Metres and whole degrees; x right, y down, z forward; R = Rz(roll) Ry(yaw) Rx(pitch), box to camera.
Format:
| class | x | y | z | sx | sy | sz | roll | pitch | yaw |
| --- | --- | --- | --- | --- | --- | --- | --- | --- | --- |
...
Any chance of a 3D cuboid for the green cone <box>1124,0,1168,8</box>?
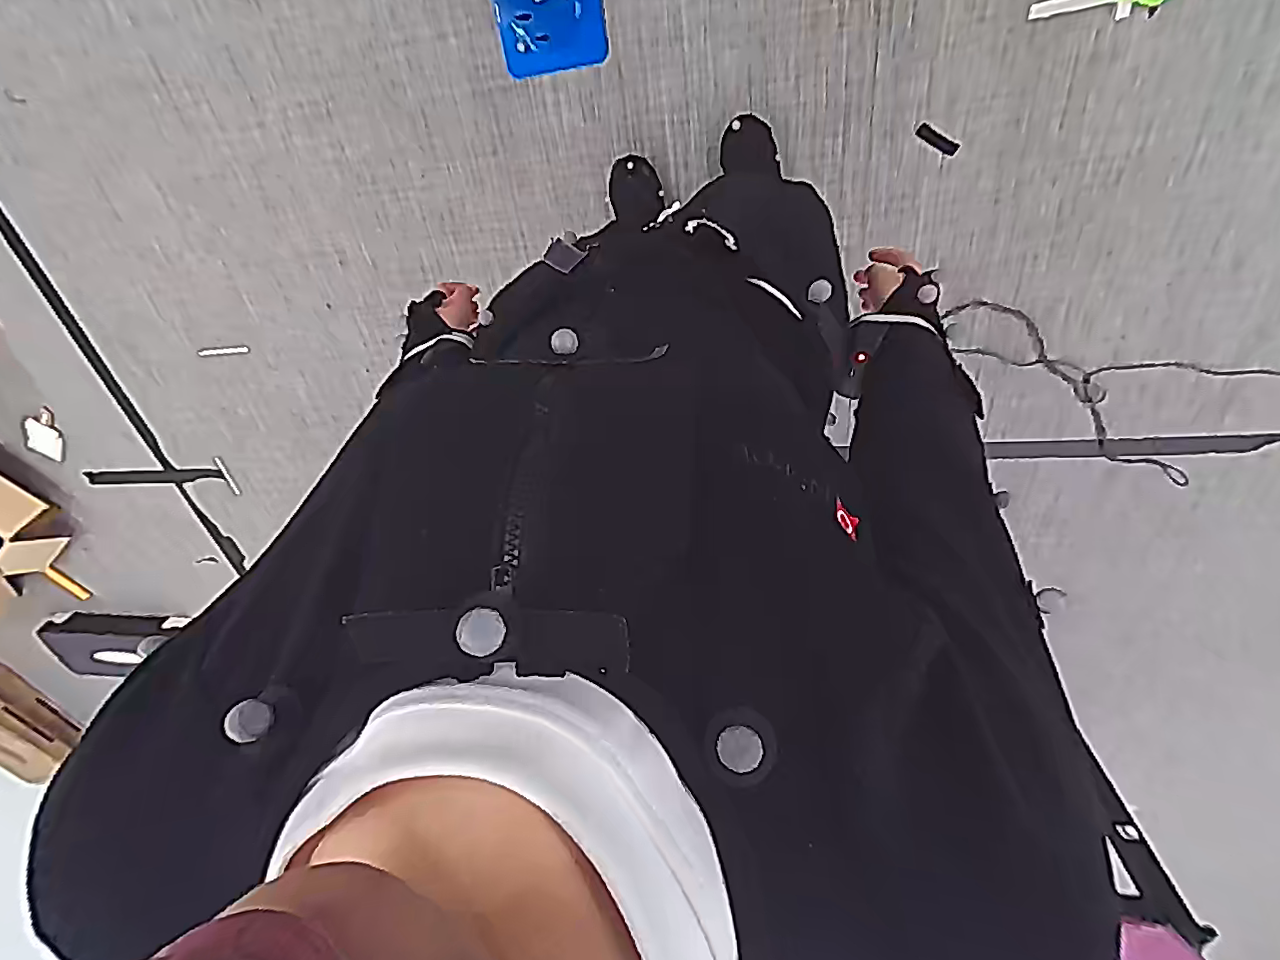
| class | x | y | z | sx | sy | sz | roll | pitch | yaw |
| --- | --- | --- | --- | --- | --- | --- | --- | --- | --- |
| green cone | 0.768 | -0.783 | 0.689 | 0.200 | 0.368 | 0.202 | 16 | 124 | -2 |
